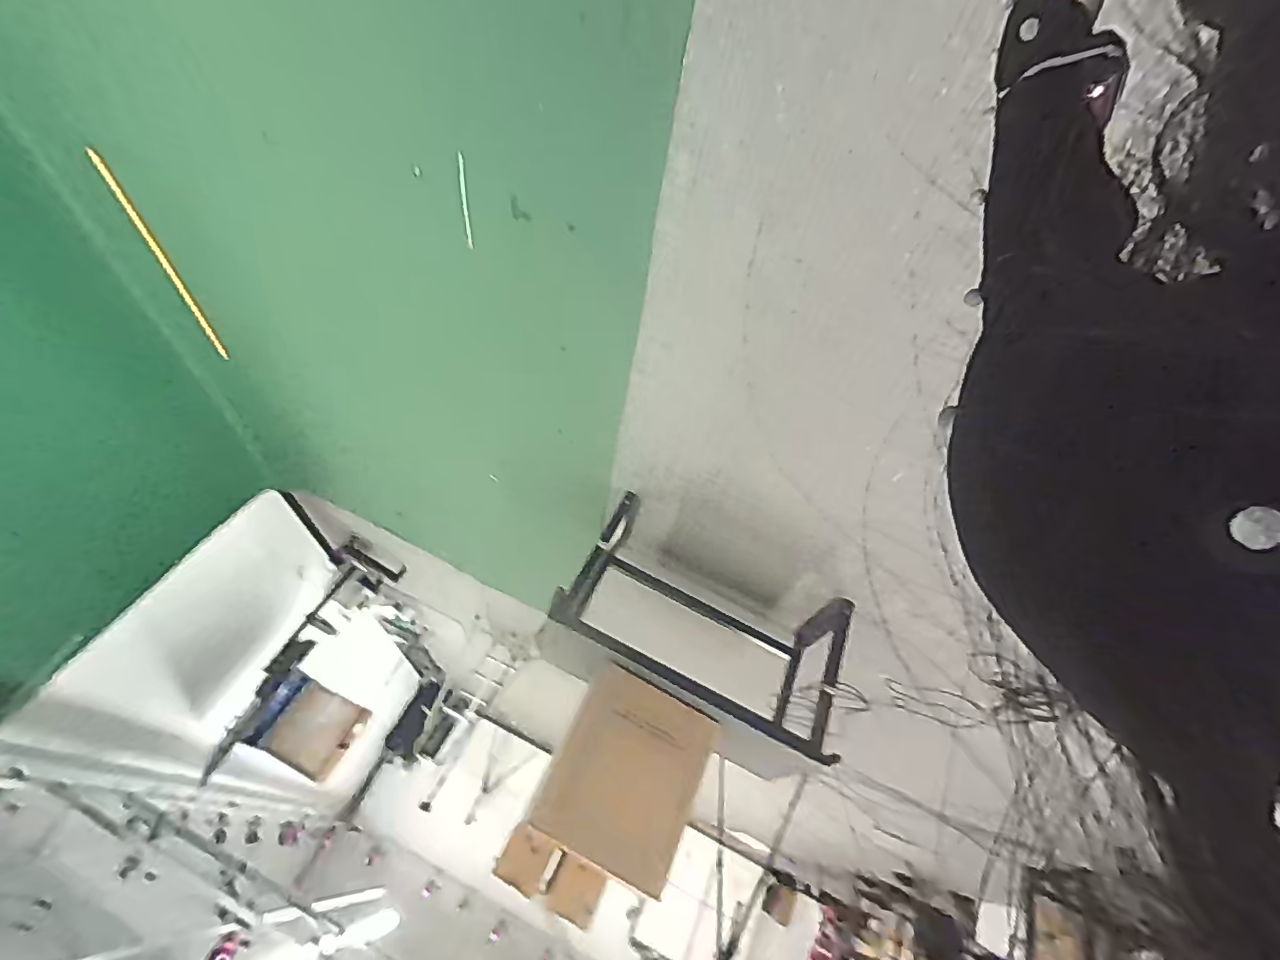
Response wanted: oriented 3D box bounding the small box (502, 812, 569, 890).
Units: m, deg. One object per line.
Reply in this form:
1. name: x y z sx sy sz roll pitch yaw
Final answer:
1. small box: -0.363 1.300 1.900 0.168 0.176 0.179 25 144 10
